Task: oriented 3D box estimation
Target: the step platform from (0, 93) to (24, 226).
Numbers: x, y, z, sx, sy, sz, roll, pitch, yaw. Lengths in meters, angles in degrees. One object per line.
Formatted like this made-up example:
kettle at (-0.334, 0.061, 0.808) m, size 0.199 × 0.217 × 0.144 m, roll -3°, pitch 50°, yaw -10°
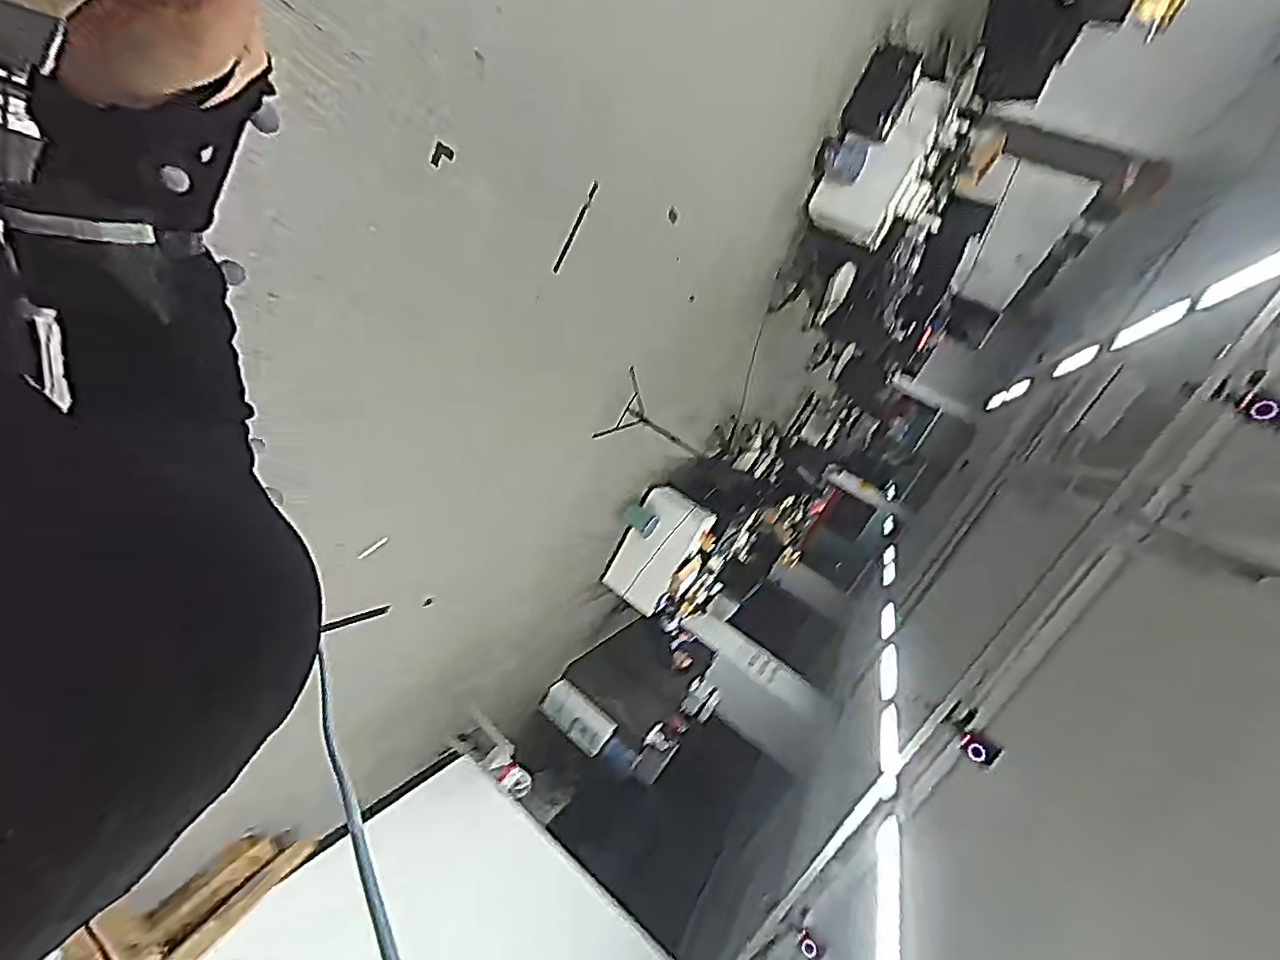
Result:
step platform at (-1.235, -0.529, 0.626) m, size 0.286 × 0.204 × 0.684 m, roll -60°, pitch 159°, yaw 10°
